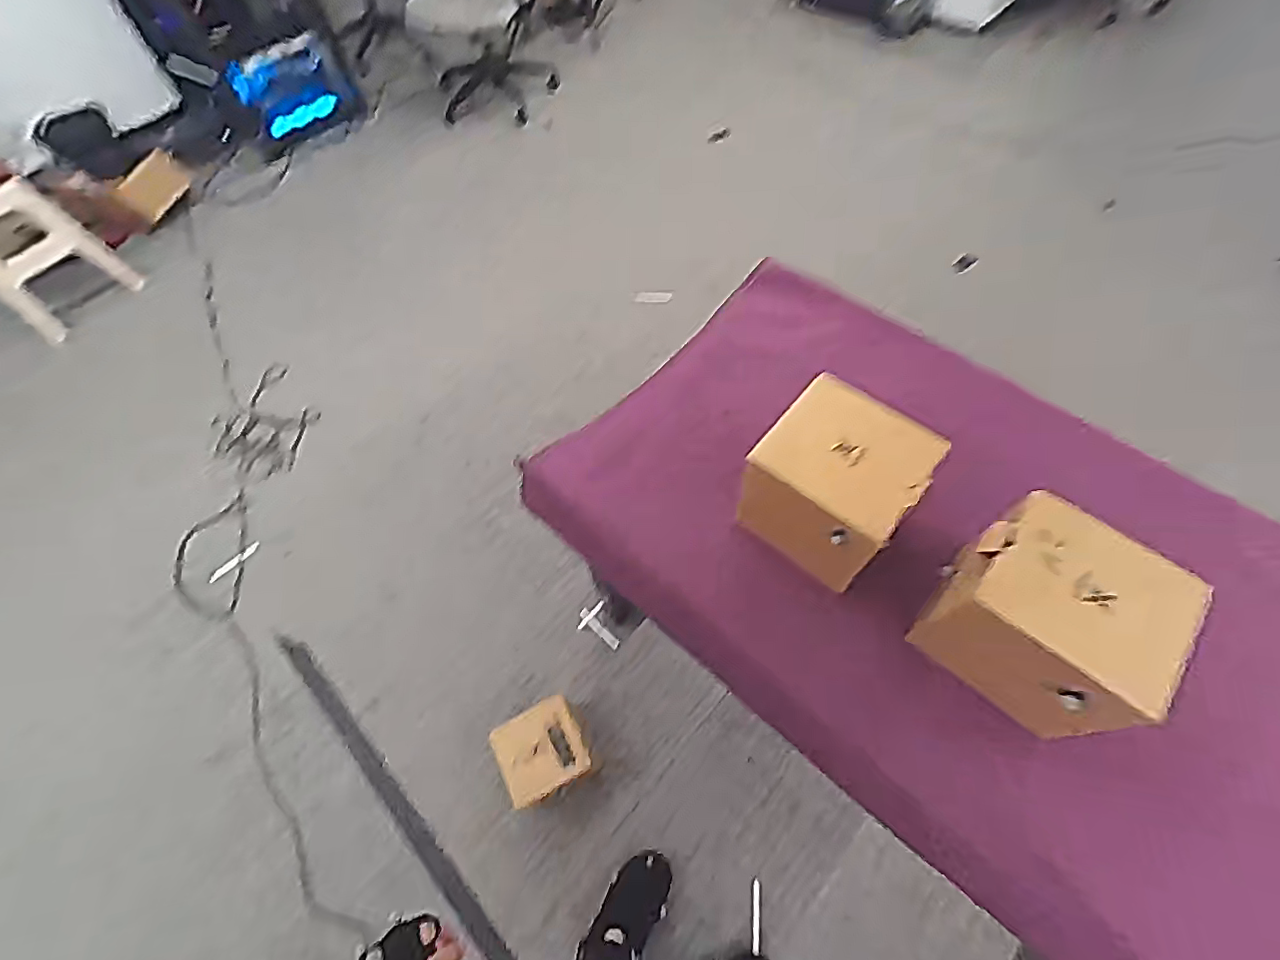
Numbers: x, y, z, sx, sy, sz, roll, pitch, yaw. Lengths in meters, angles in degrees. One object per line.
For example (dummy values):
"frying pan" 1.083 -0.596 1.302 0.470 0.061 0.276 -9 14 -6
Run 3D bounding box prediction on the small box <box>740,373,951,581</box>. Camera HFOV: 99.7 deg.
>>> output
"small box" 0.249 0.003 0.699 0.179 0.176 0.168 36 67 20

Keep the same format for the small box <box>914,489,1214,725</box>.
"small box" 0.450 0.149 0.603 0.179 0.176 0.168 37 67 21
